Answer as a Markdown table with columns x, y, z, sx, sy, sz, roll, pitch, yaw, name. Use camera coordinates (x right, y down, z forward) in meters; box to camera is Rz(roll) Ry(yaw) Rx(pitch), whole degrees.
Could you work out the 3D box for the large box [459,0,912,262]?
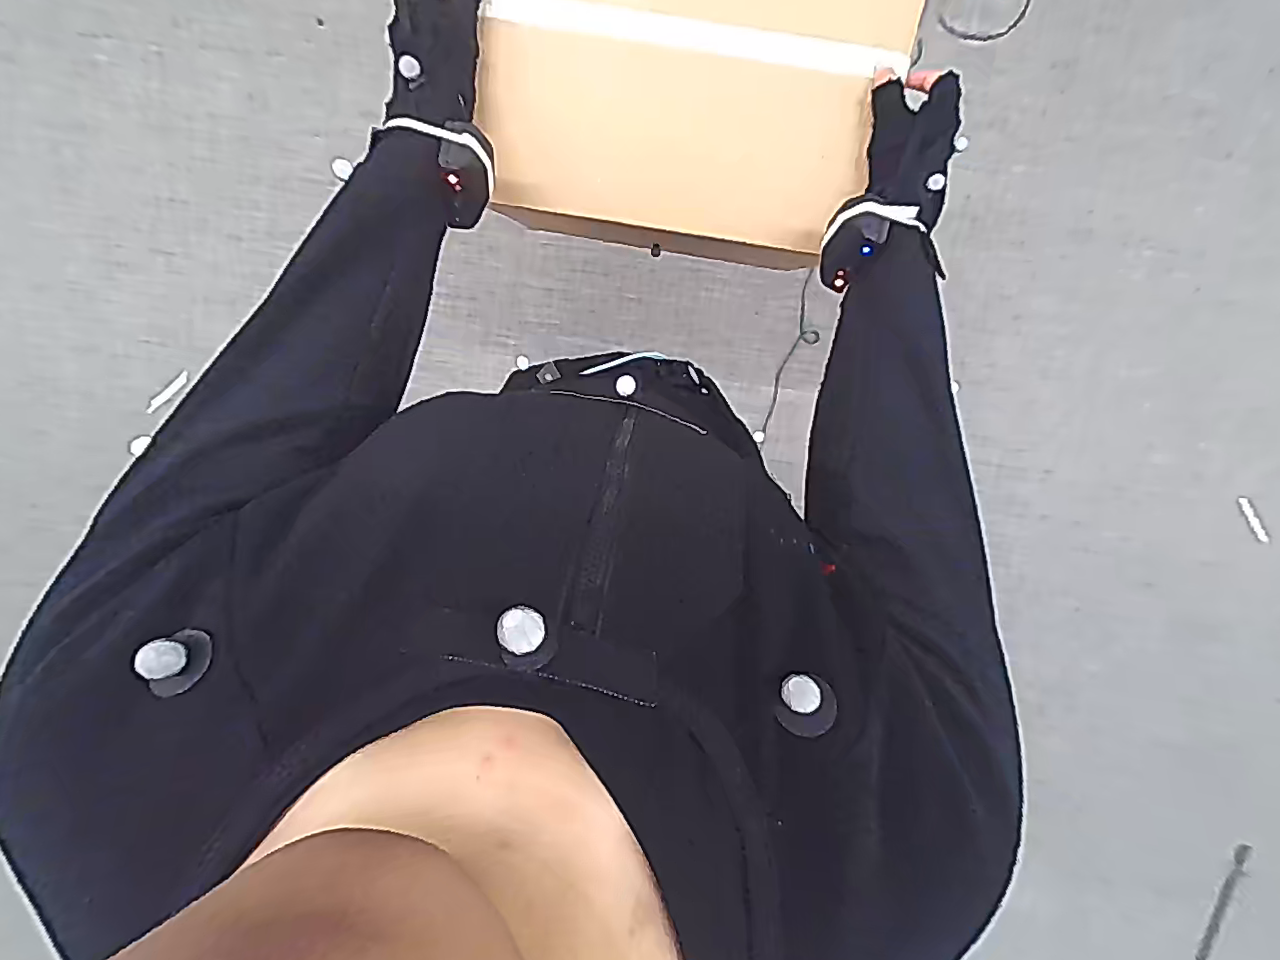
| x | y | z | sx | sy | sz | roll | pitch | yaw | name |
| --- | --- | --- | --- | --- | --- | --- | --- | --- | --- |
| 0.044 | -0.447 | 0.631 | 0.408 | 0.320 | 0.320 | 9 | 108 | 0 | large box |
